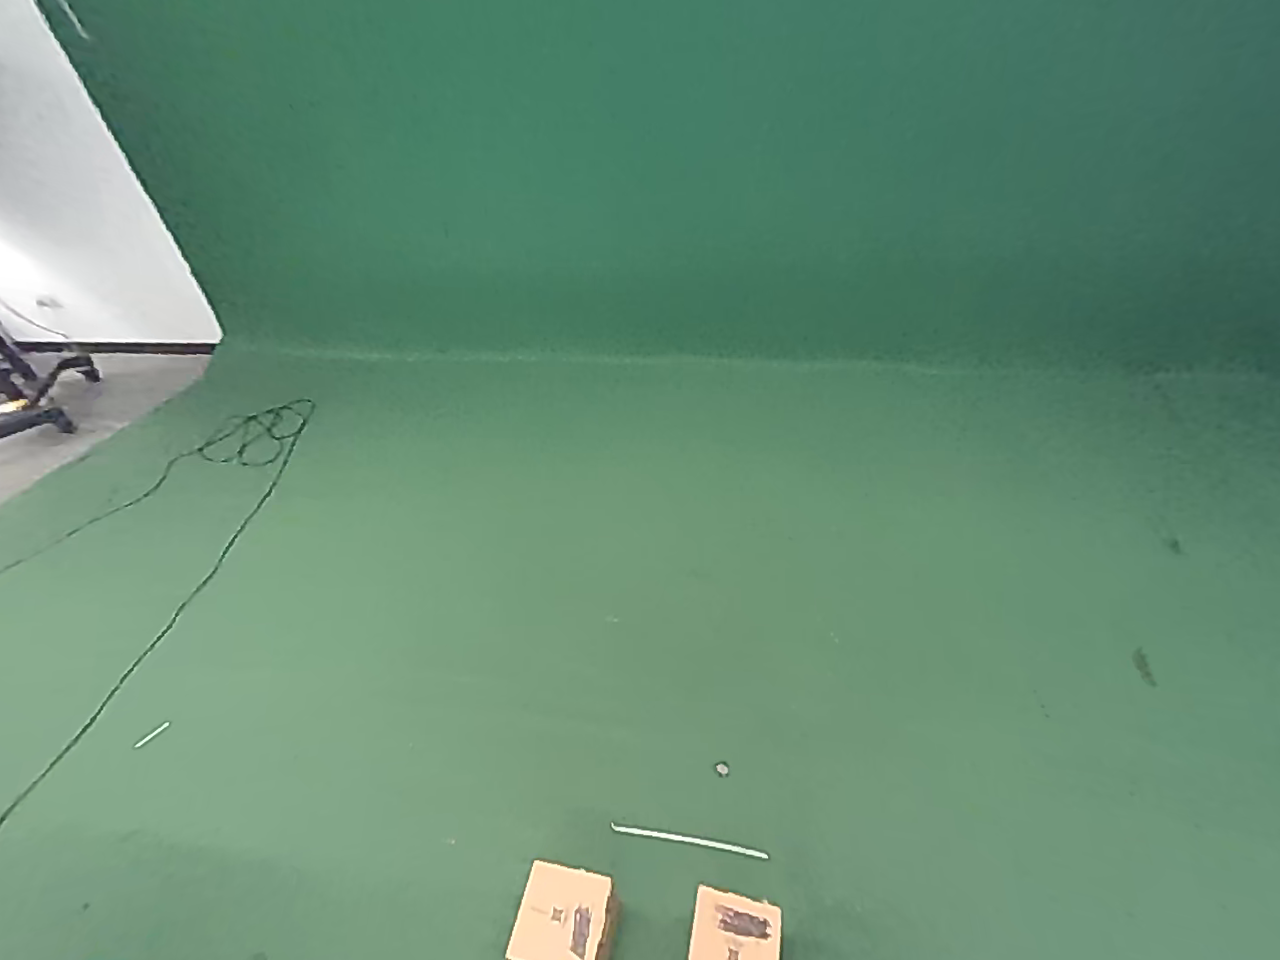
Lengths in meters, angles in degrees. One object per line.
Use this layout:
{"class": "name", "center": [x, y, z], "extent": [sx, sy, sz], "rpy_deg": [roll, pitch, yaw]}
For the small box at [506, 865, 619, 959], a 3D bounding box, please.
{"class": "small box", "center": [-0.148, 0.935, 1.116], "extent": [0.179, 0.176, 0.168], "rpy_deg": [4, 39, 13]}
